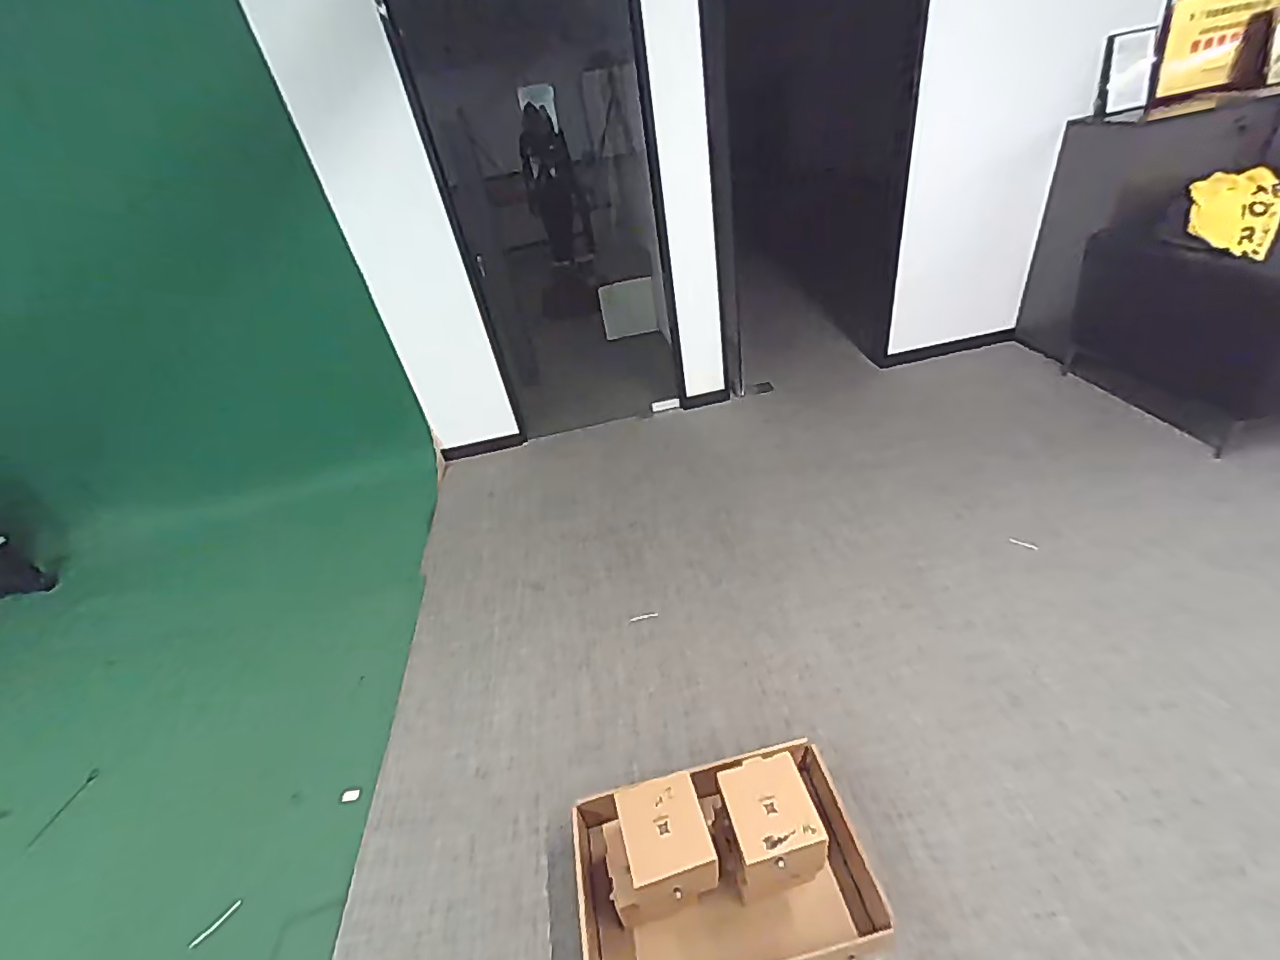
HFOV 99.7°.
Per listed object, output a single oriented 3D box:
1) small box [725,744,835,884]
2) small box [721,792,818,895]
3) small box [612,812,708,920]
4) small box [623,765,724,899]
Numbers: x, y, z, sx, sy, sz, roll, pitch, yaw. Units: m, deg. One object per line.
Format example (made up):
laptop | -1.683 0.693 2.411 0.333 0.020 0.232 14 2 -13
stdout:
small box | 0.287 0.695 1.127 0.168 0.176 0.179 -17 37 -3
small box | 0.304 0.812 1.243 0.179 0.176 0.168 -18 38 -7
small box | 0.046 0.869 1.240 0.179 0.176 0.168 -14 38 -6
small box | 0.072 0.740 1.131 0.168 0.176 0.179 -14 38 -8
